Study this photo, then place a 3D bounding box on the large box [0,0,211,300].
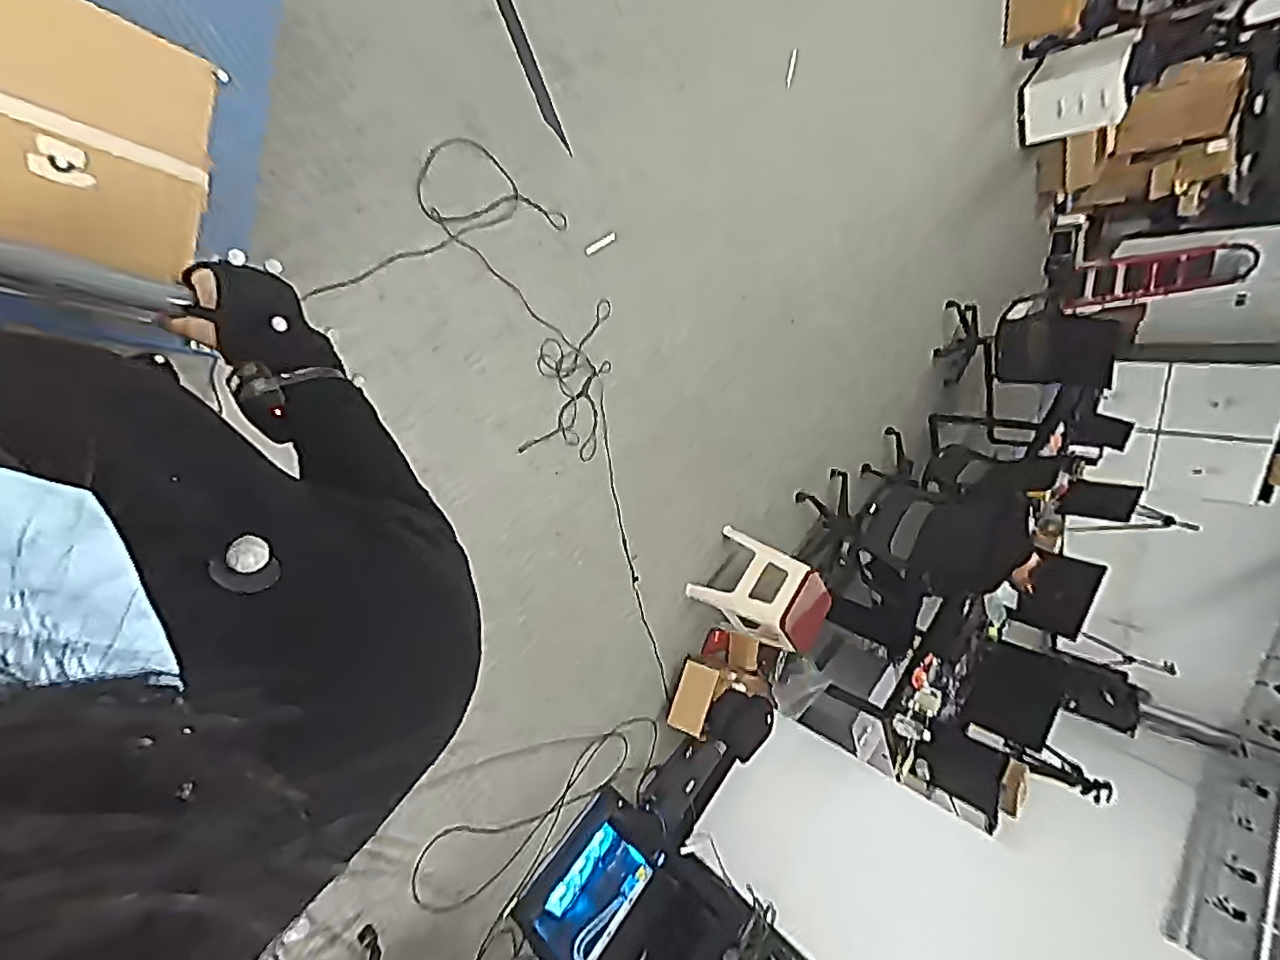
[{"bbox_3d":[-0.875,-0.462,0.734,0.408,0.320,0.320,7,97,-46],"label":"large box"}]
